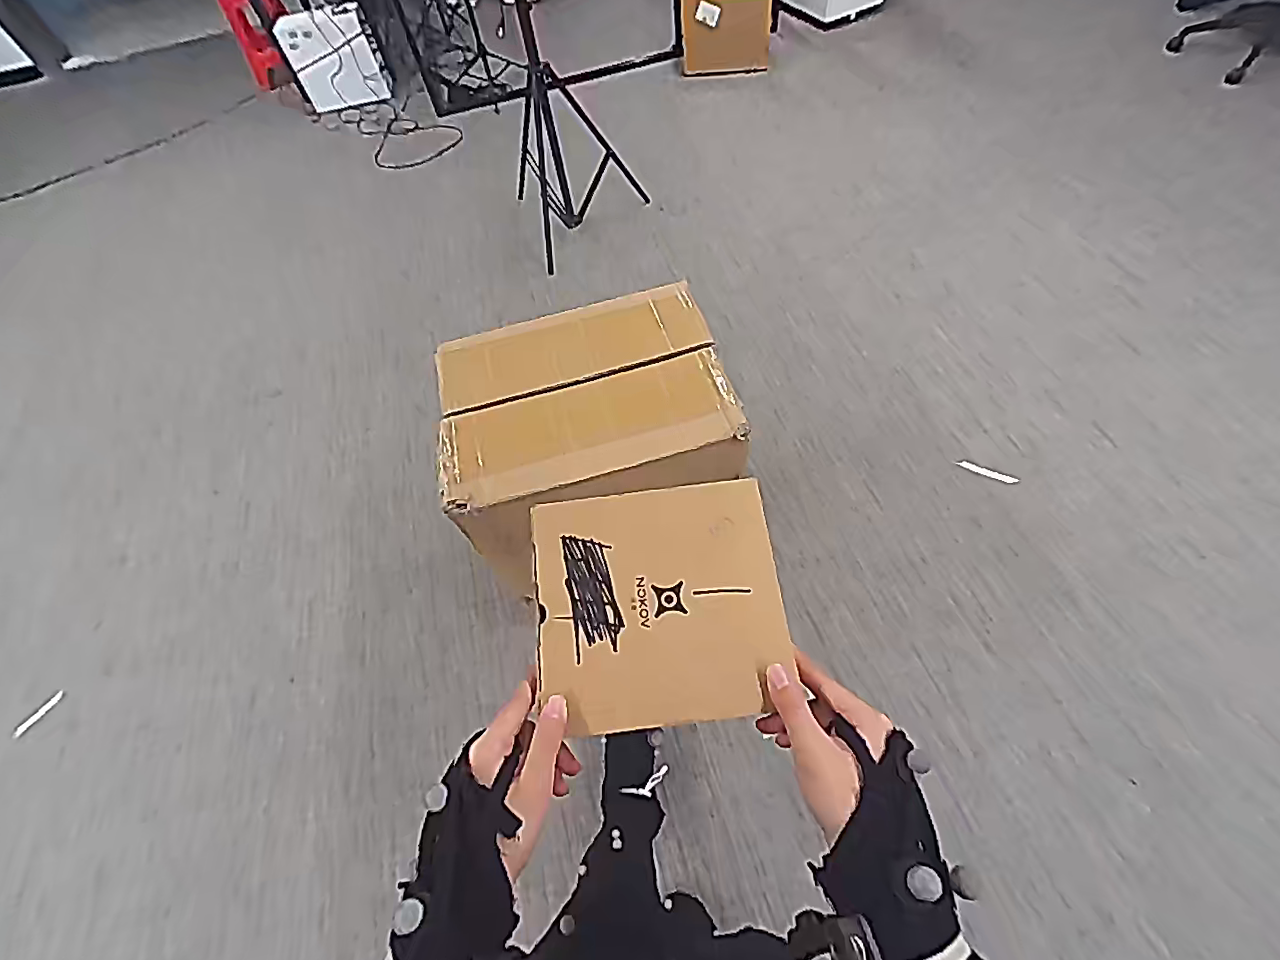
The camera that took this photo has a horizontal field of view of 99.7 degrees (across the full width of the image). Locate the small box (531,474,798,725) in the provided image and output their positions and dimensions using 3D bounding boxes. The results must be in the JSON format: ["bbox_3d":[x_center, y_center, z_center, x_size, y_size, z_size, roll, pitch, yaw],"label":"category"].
[{"bbox_3d":[0.015,0.110,0.457,0.179,0.176,0.168,-7,67,0],"label":"small box"}]
